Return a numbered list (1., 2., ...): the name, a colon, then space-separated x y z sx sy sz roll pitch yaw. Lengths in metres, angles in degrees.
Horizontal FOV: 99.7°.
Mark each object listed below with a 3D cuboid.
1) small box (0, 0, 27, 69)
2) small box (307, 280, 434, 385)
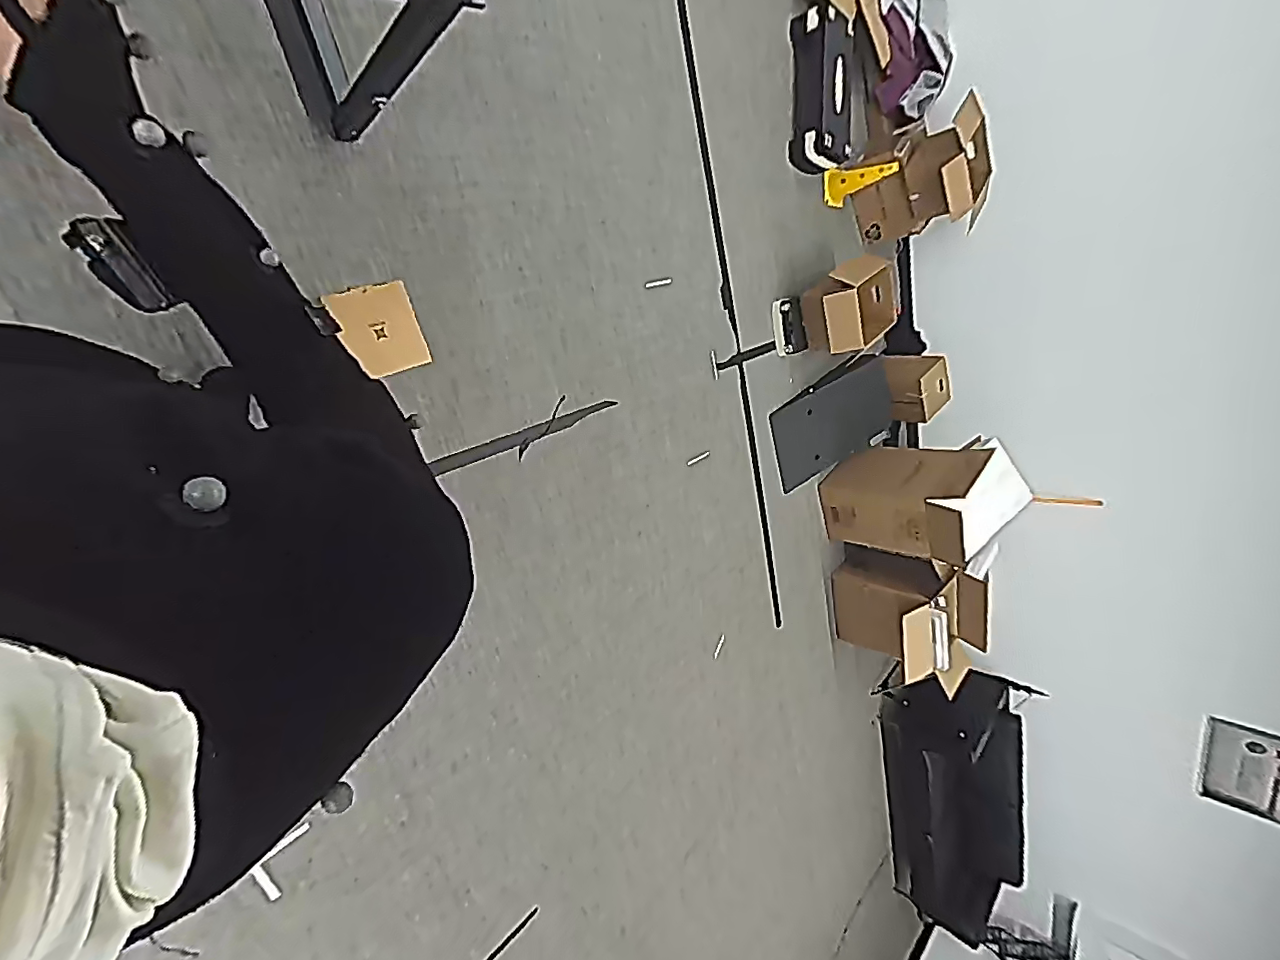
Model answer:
1. small box: -0.480 -0.354 0.276 0.168 0.176 0.179 -18 105 -34
2. small box: -0.575 -0.311 1.152 0.168 0.176 0.179 -31 116 -35
